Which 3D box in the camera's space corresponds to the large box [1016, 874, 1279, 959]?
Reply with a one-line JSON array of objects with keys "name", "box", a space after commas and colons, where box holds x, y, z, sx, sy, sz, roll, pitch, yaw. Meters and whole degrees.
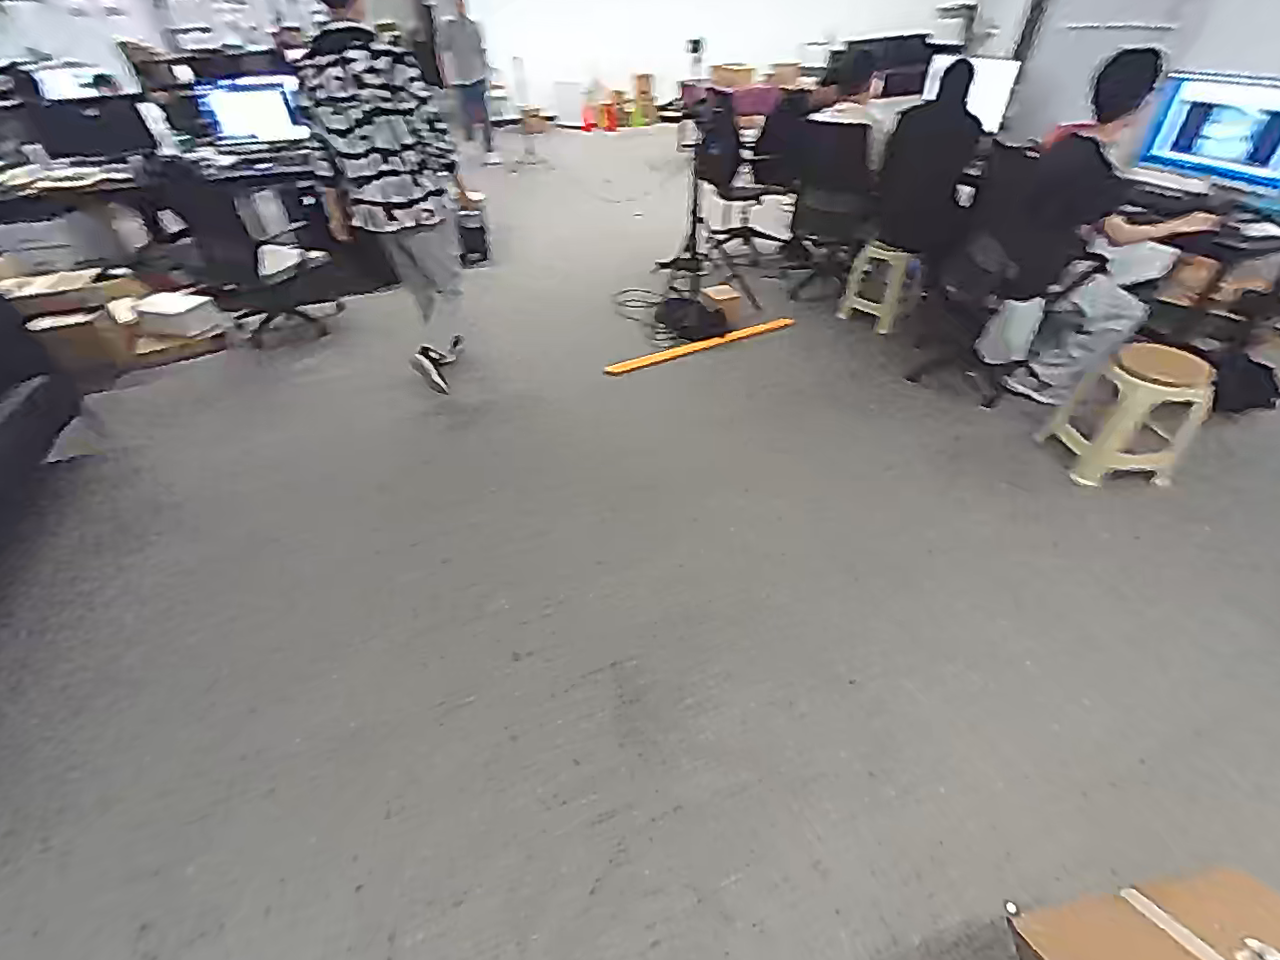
[{"name": "large box", "box": [0.677, 0.691, 0.510, 0.320, 0.408, 0.320, -12, 87, 0]}]
